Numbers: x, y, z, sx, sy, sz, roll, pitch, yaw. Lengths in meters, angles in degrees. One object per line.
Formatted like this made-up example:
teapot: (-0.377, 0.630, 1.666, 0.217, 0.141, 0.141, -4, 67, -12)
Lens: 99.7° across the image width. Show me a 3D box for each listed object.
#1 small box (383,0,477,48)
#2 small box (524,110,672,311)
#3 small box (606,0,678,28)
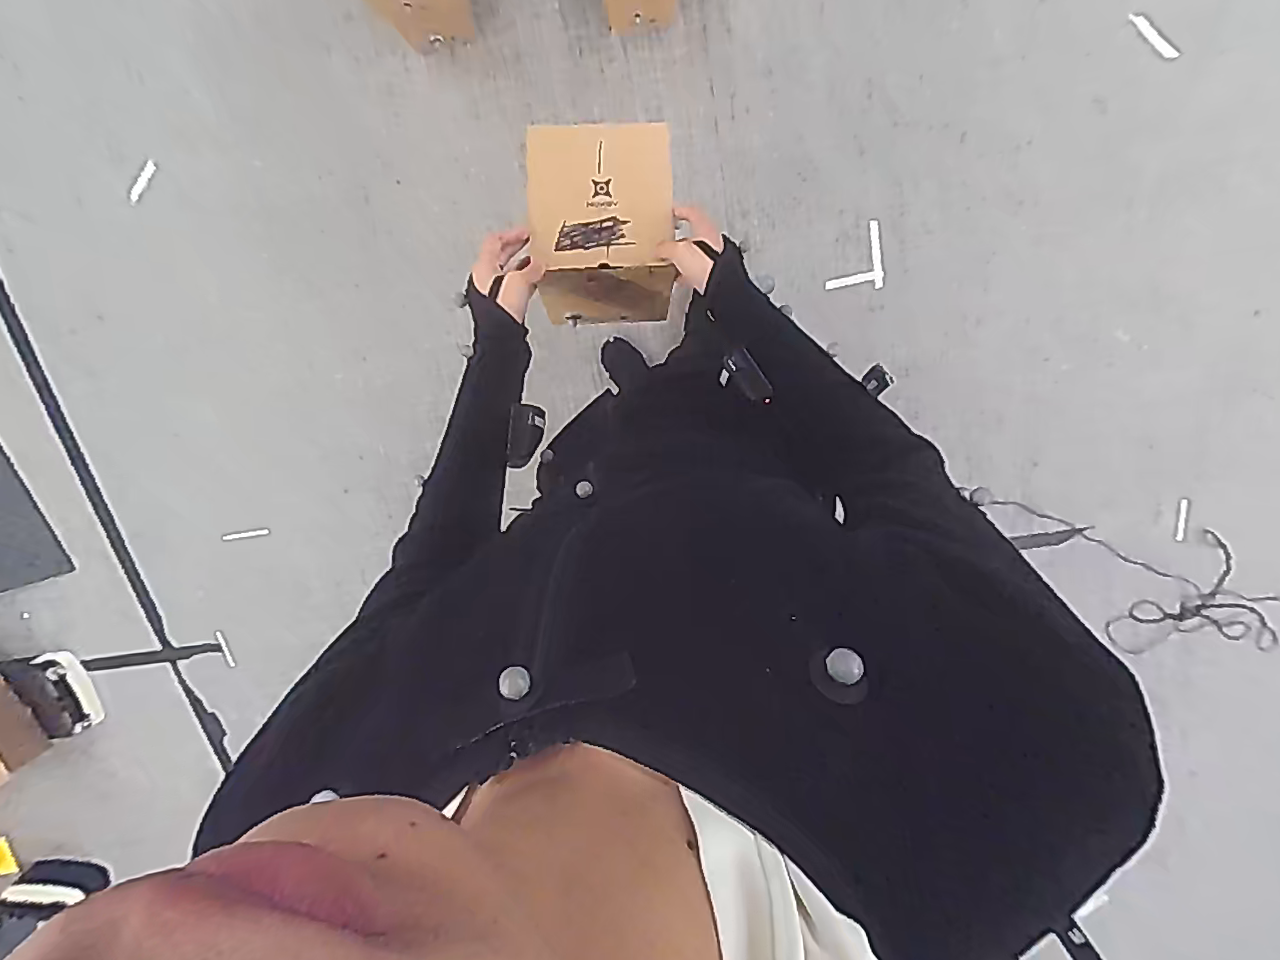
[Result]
small box: (-0.497, -1.150, 1.243, 0.168, 0.176, 0.179, -11, 105, 5)
small box: (-0.048, -0.324, 0.685, 0.168, 0.176, 0.179, -2, 85, -2)
small box: (-0.003, -1.181, 1.228, 0.168, 0.176, 0.179, -7, 107, 3)
